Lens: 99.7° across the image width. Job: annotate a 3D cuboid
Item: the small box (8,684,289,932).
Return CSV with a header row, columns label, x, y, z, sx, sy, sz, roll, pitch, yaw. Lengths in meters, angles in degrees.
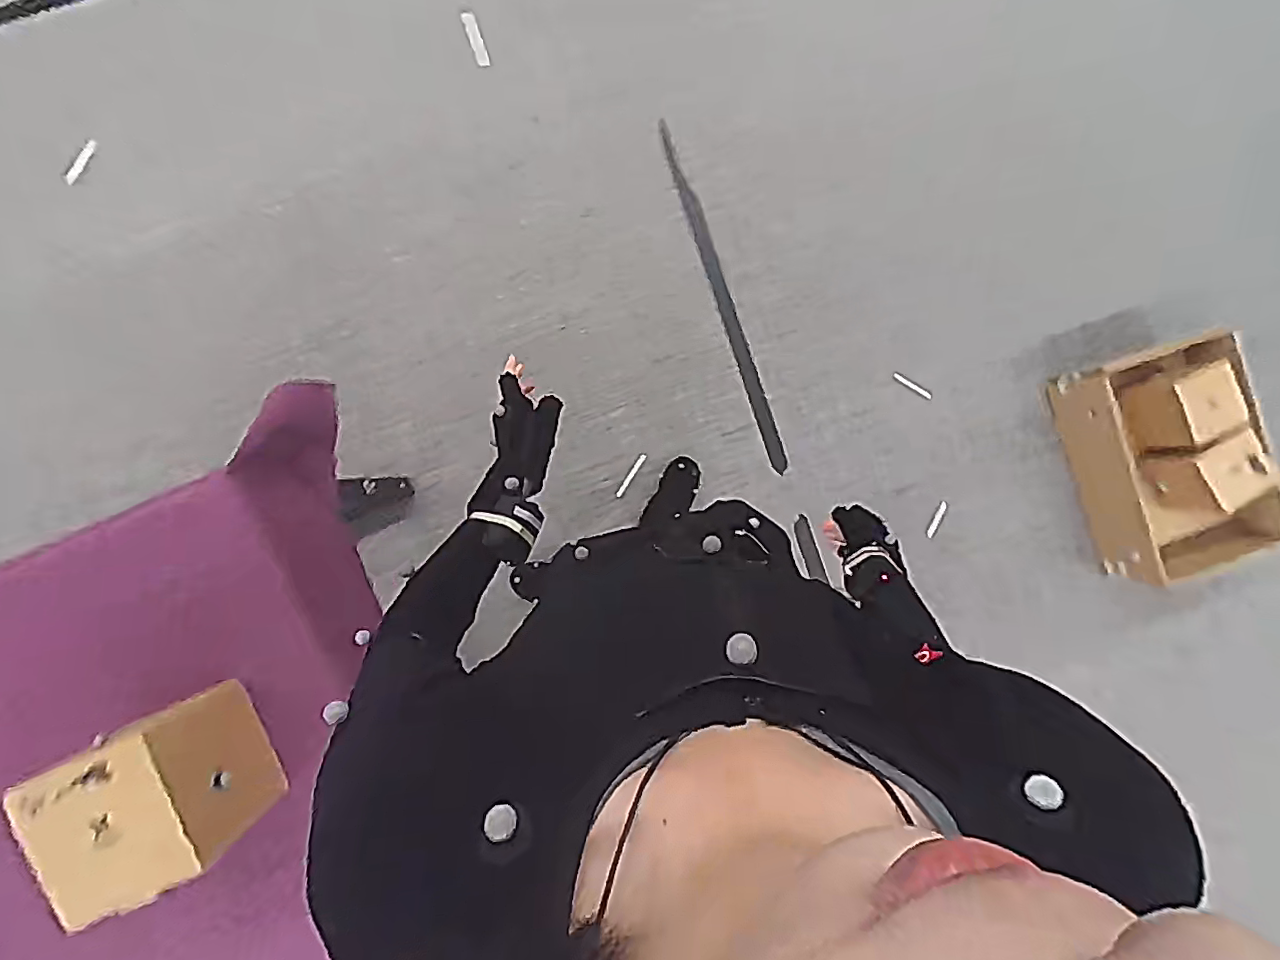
label,x,y,z,sx,sy,sz,roll,pitch,yaw
small box,-0.595,0.396,0.684,0.168,0.176,0.179,-24,93,-3
